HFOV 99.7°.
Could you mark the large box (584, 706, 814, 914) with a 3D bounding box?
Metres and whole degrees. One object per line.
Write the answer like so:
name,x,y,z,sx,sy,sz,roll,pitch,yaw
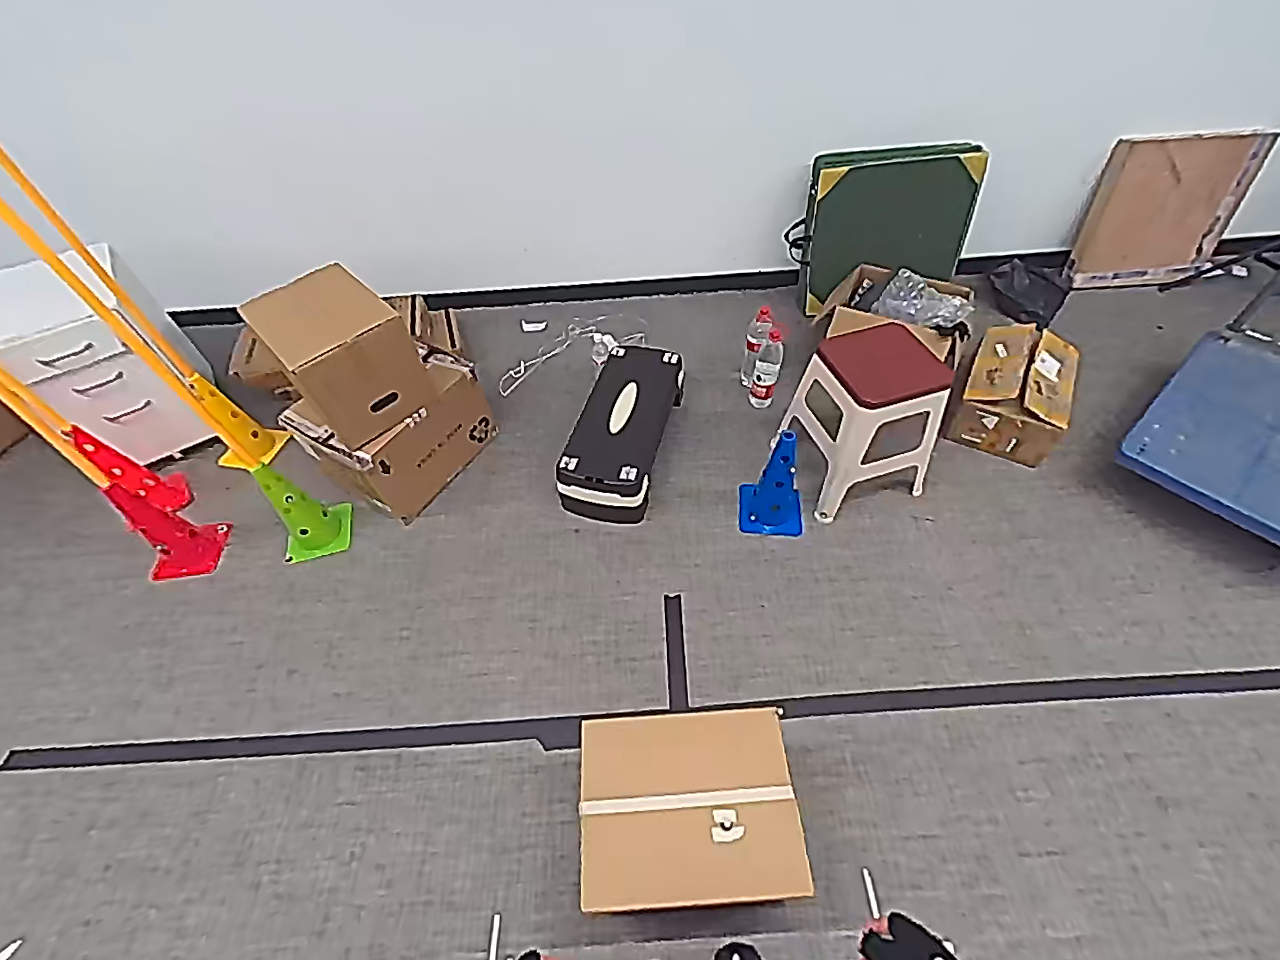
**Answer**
large box,0.097,0.697,1.136,0.408,0.320,0.320,-4,52,-1
